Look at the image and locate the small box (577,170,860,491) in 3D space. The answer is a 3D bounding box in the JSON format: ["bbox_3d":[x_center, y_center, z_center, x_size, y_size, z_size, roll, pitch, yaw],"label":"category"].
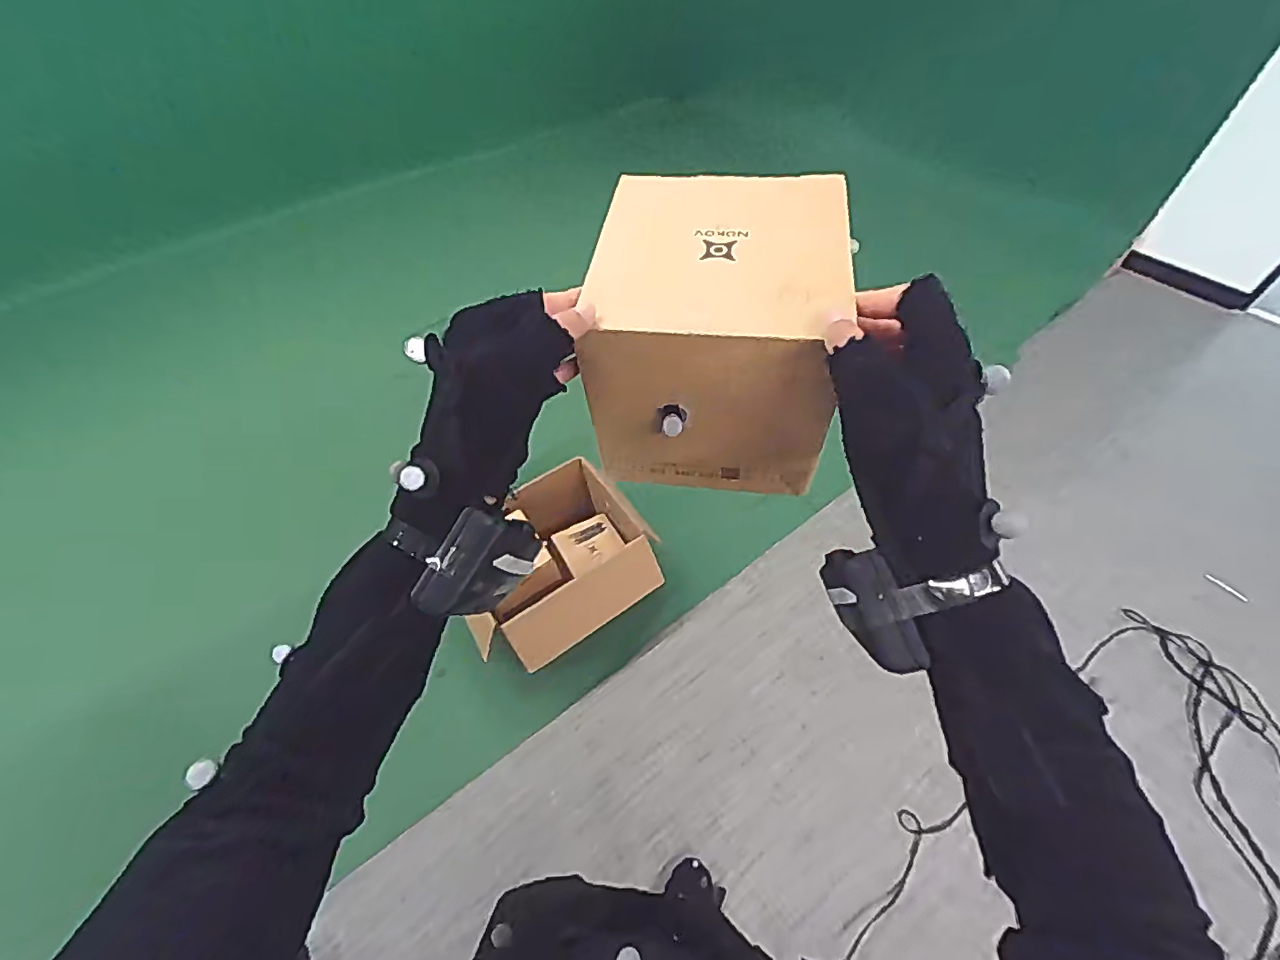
[{"bbox_3d":[0.063,-0.108,0.417,0.168,0.176,0.179,5,57,9],"label":"small box"}]
